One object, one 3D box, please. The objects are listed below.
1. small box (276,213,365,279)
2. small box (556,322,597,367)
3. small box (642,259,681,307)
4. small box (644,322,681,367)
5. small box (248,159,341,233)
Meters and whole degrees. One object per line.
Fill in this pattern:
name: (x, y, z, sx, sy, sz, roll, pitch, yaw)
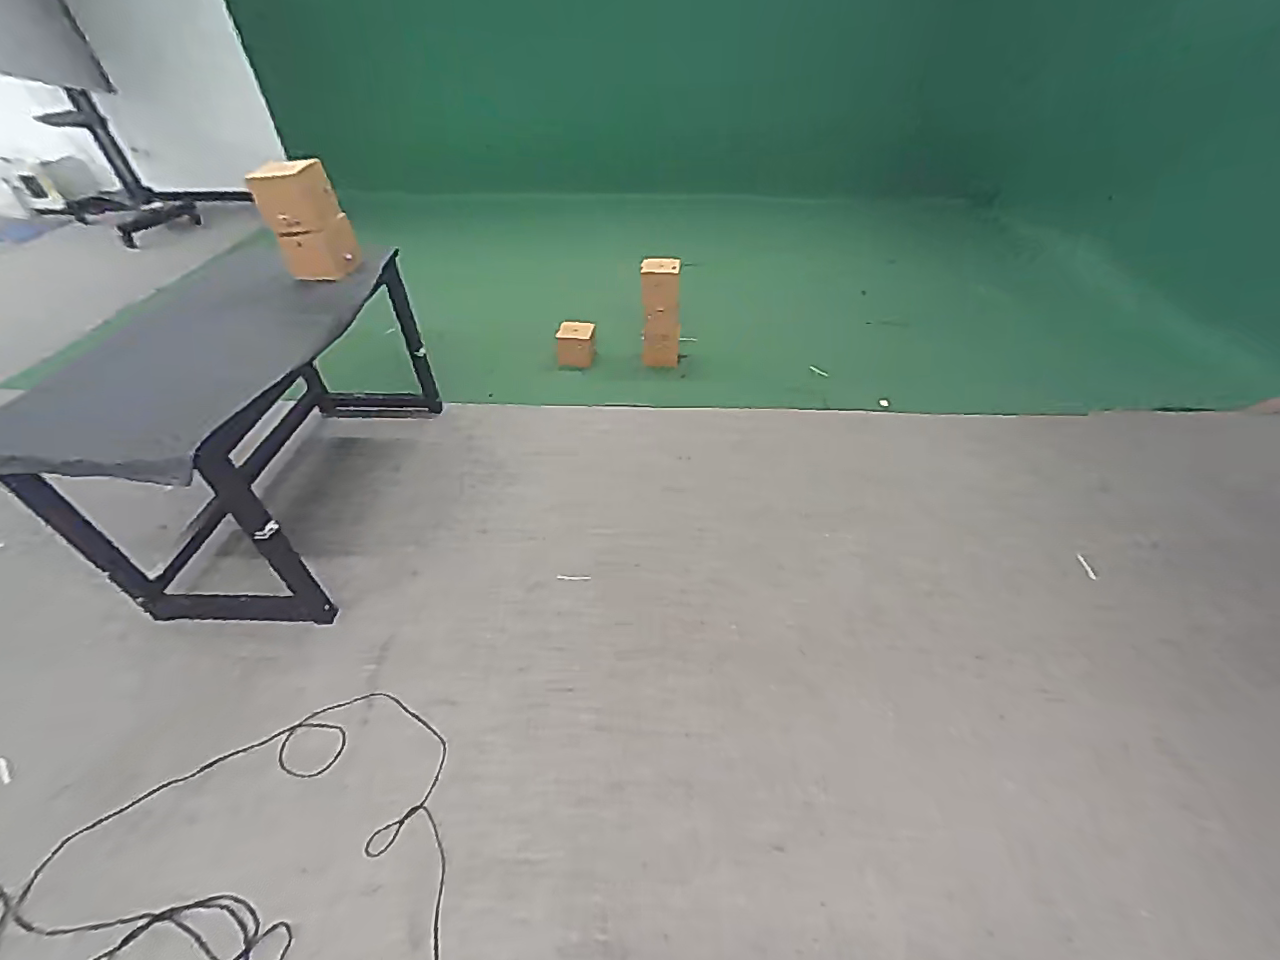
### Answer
small box: (-1.097, -0.808, 1.870, 0.179, 0.176, 0.168, 4, 44, 8)
small box: (-0.323, -0.706, 2.818, 0.179, 0.176, 0.168, 5, 43, 7)
small box: (0.104, -0.941, 2.583, 0.179, 0.176, 0.168, 3, 43, 5)
small box: (0.119, -0.700, 2.807, 0.179, 0.176, 0.168, 4, 44, 6)
small box: (-1.105, -0.918, 1.751, 0.168, 0.176, 0.179, -3, 45, 3)
